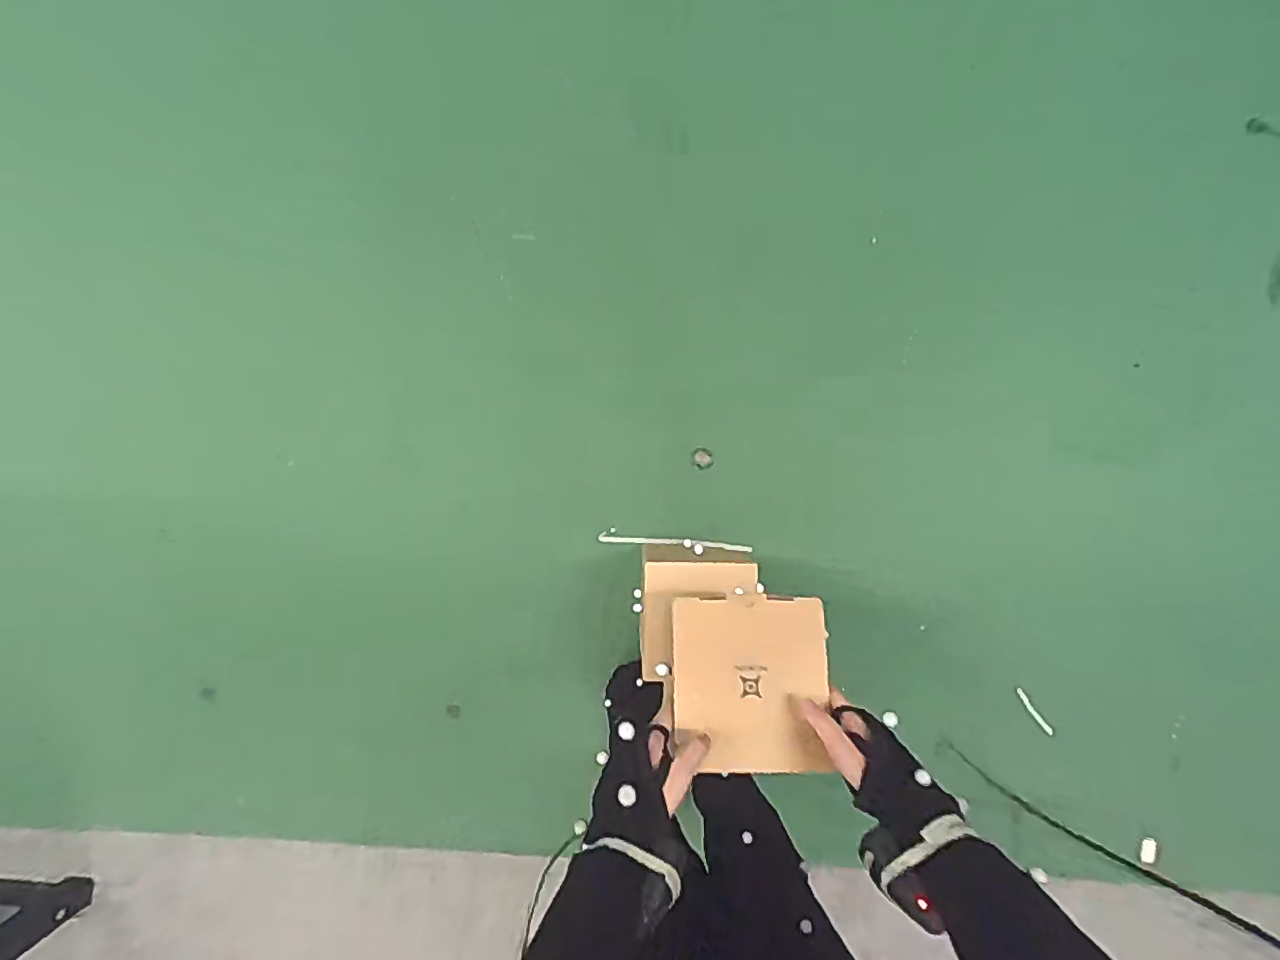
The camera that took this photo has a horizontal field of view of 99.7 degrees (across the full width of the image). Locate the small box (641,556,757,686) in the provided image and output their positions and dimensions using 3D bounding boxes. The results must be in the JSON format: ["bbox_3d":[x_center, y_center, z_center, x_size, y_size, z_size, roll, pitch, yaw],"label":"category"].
[{"bbox_3d":[0.087,0.216,0.864,0.168,0.176,0.179,1,89,0],"label":"small box"}]

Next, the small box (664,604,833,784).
[{"bbox_3d":[0.116,0.241,0.642,0.168,0.176,0.179,1,74,0],"label":"small box"}]
